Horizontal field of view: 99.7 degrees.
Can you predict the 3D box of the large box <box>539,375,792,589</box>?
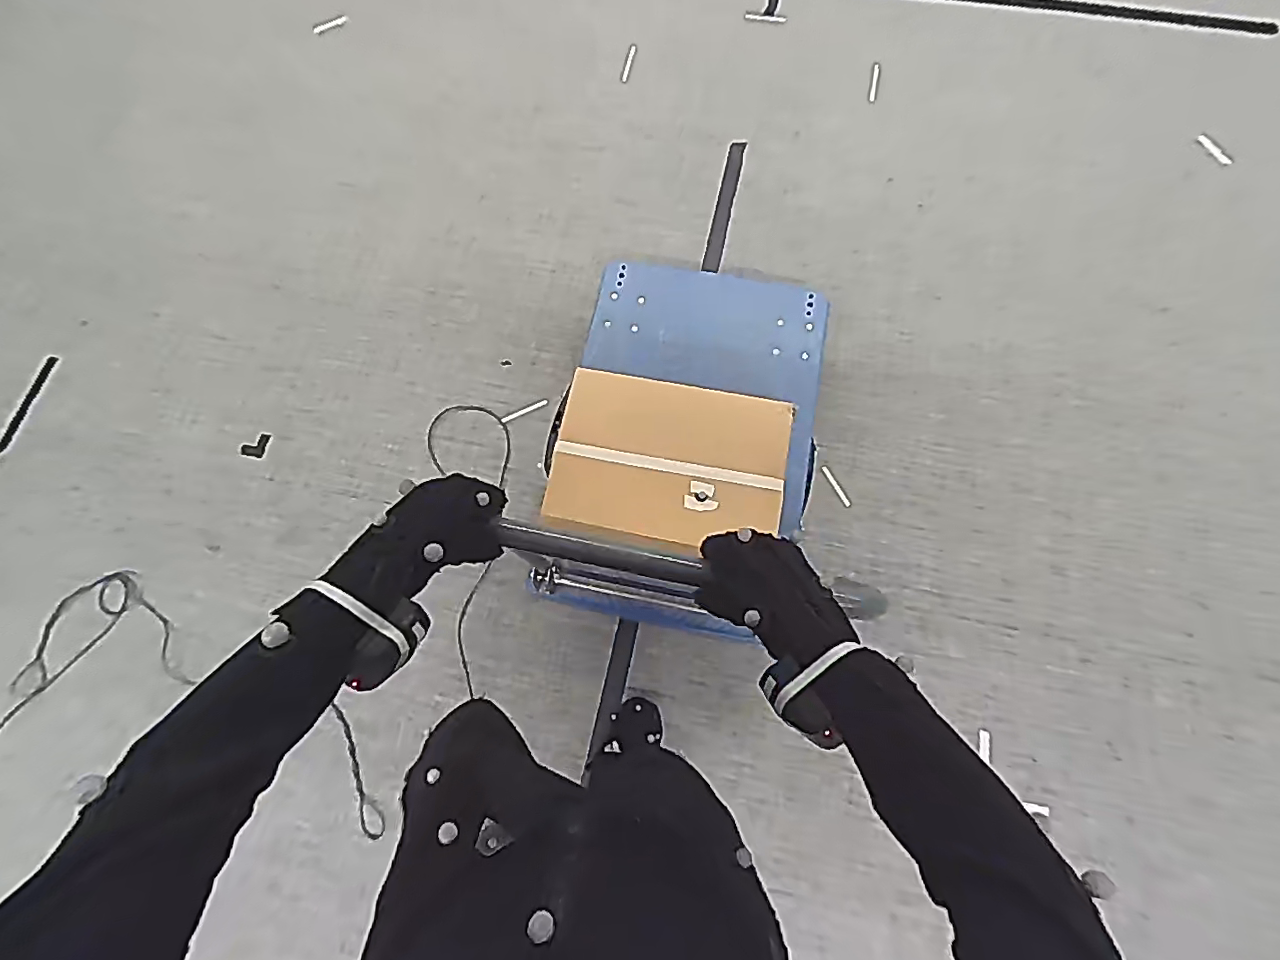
[{"bbox_3d":[0.051,0.022,1.082,0.408,0.320,0.320,11,77,4],"label":"large box"}]
